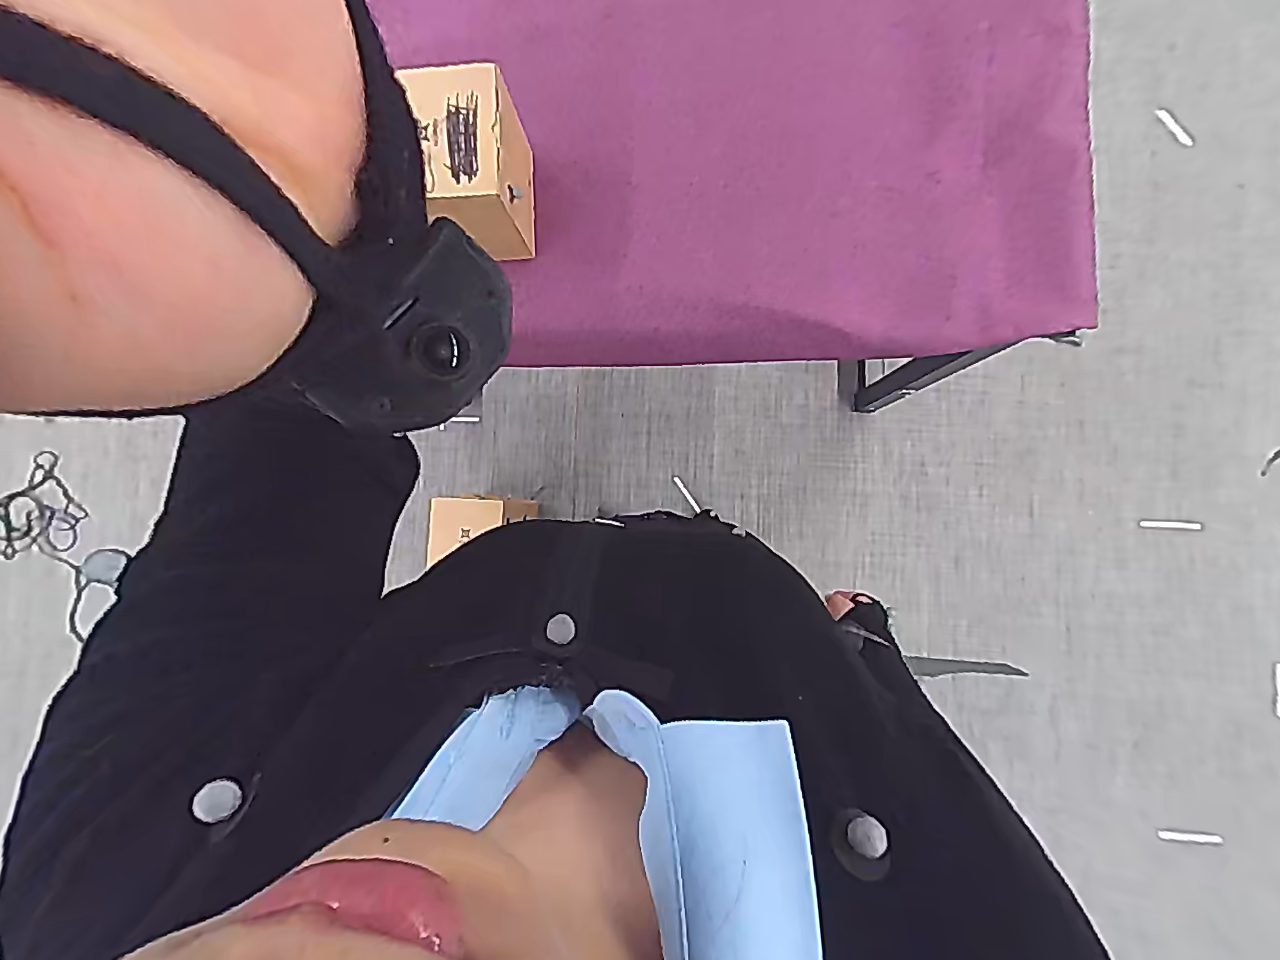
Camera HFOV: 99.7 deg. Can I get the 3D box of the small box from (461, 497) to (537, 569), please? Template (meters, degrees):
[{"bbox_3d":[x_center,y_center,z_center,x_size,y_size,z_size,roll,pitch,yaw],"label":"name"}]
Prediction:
[{"bbox_3d":[-0.381,0.144,1.441,0.168,0.176,0.179,8,87,3],"label":"small box"}]

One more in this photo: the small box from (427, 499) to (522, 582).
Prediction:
[{"bbox_3d":[-0.381,0.138,1.276,0.168,0.176,0.179,3,87,3],"label":"small box"}]
